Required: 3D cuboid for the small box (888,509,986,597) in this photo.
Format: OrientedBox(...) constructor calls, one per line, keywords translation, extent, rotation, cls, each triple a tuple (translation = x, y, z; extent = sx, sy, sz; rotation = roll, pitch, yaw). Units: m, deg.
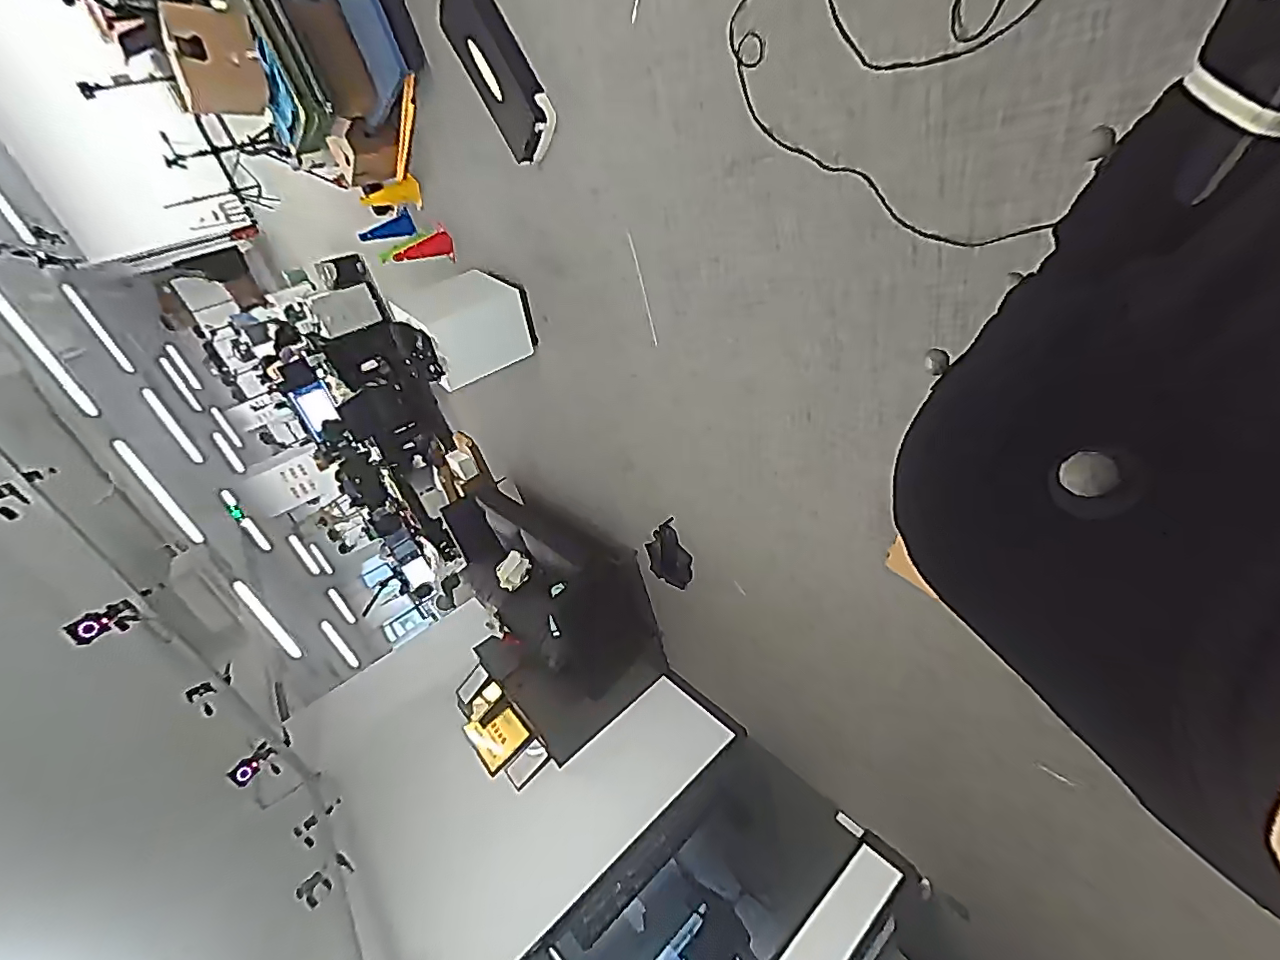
OrientedBox(translation=(0.897, 0.212, 1.637), extent=(0.179, 0.176, 0.168), rotation=(37, 148, 34), cls="small box")
